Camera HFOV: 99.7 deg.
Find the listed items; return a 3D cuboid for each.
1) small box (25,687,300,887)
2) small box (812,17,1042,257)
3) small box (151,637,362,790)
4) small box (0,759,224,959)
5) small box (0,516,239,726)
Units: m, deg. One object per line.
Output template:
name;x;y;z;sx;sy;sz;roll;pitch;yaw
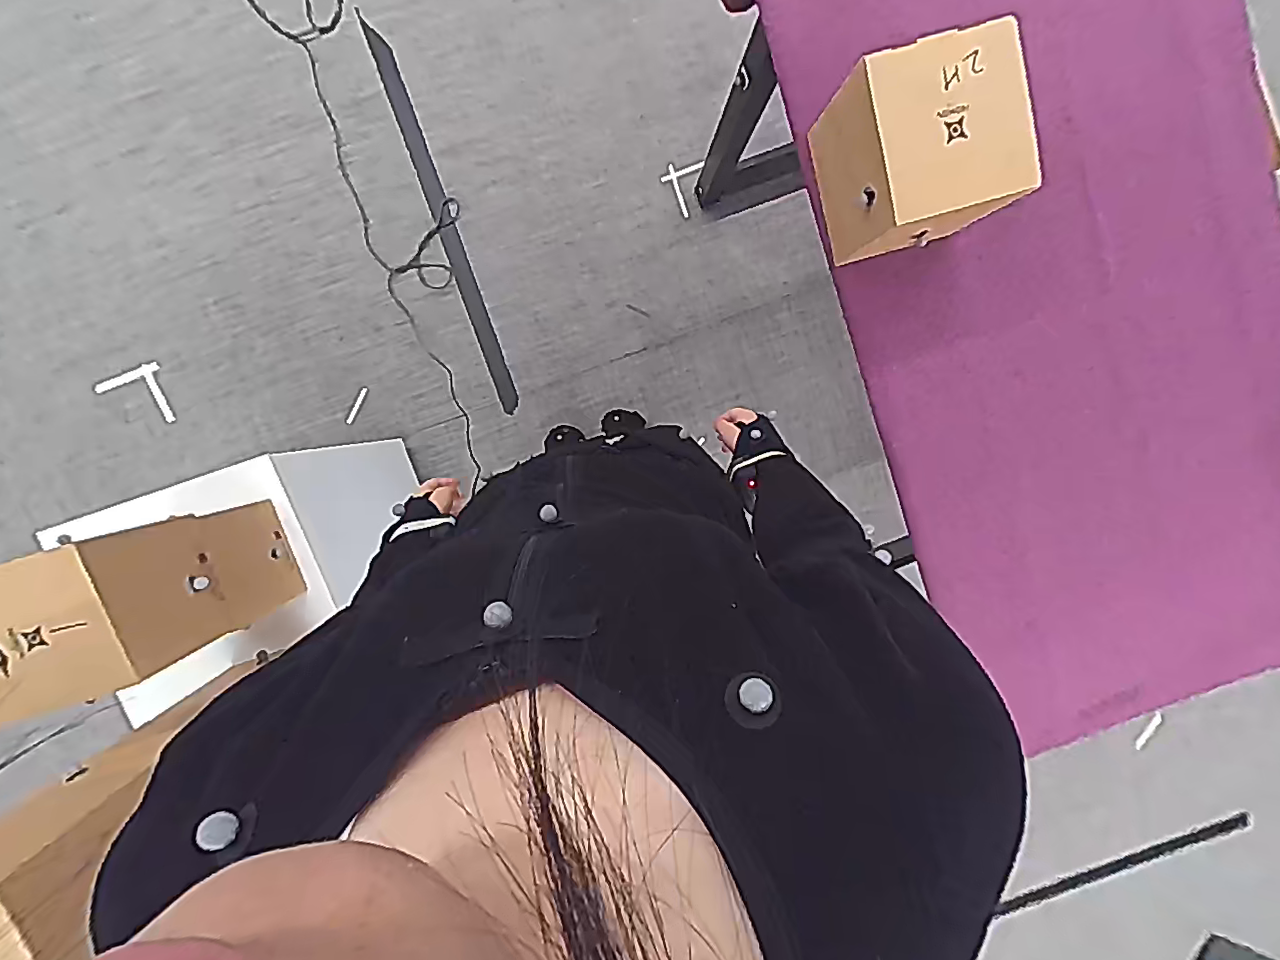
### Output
small box;-0.566;0.390;0.674;0.179;0.176;0.168;-20;98;0
small box;0.327;-0.383;0.645;0.168;0.176;0.179;-16;97;-1
small box;-0.574;0.371;0.835;0.179;0.176;0.168;-18;98;1
small box;-0.561;0.409;0.513;0.179;0.176;0.168;-20;98;0
small box;-0.637;0.155;0.640;0.179;0.176;0.168;-17;98;-2
